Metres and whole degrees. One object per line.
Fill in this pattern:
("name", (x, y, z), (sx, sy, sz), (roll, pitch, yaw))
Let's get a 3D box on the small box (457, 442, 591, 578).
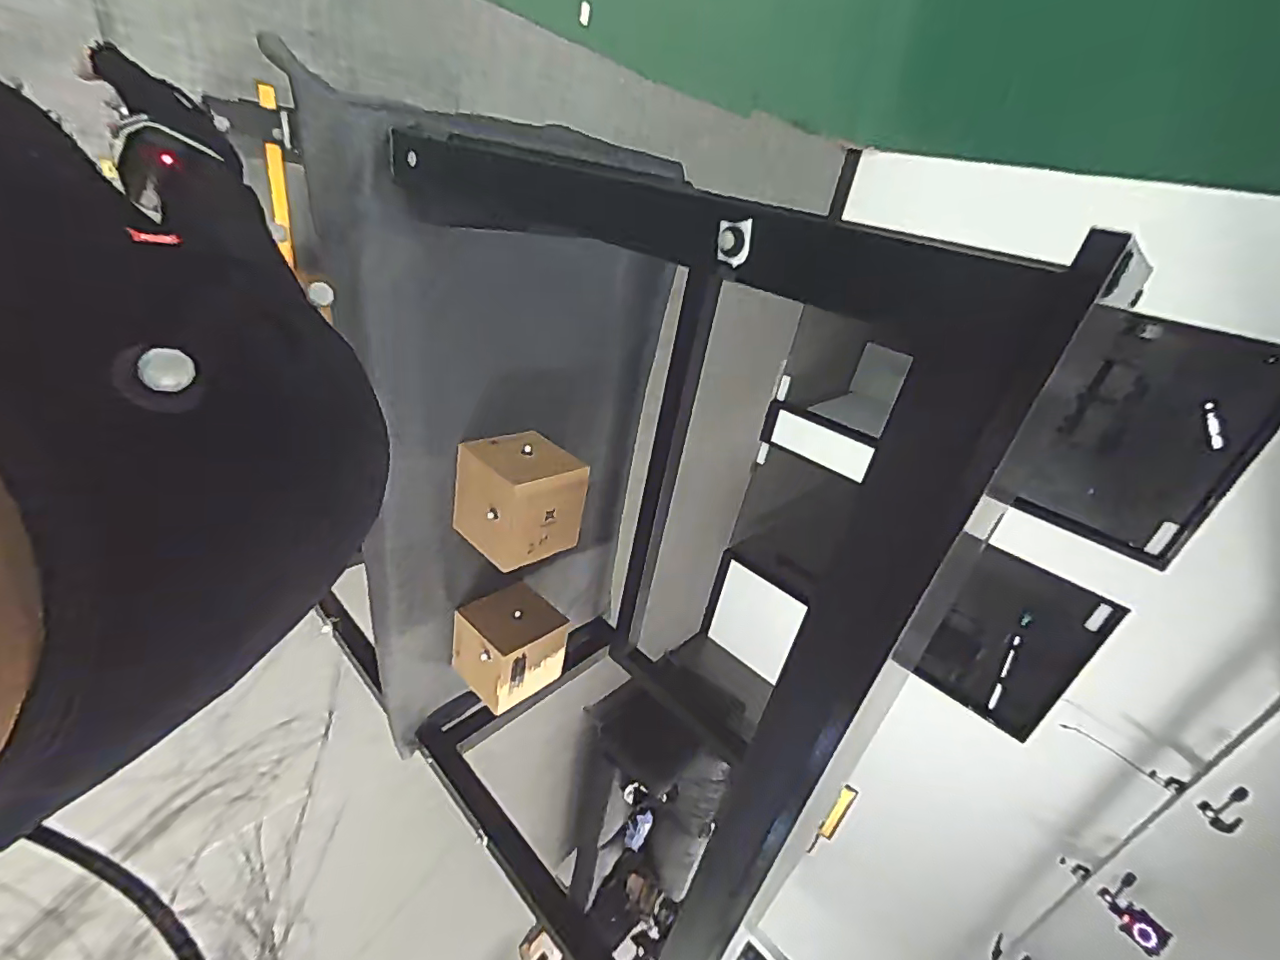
("small box", (-0.214, 0.041, 0.978), (0.168, 0.176, 0.179), (-17, 128, -46))
